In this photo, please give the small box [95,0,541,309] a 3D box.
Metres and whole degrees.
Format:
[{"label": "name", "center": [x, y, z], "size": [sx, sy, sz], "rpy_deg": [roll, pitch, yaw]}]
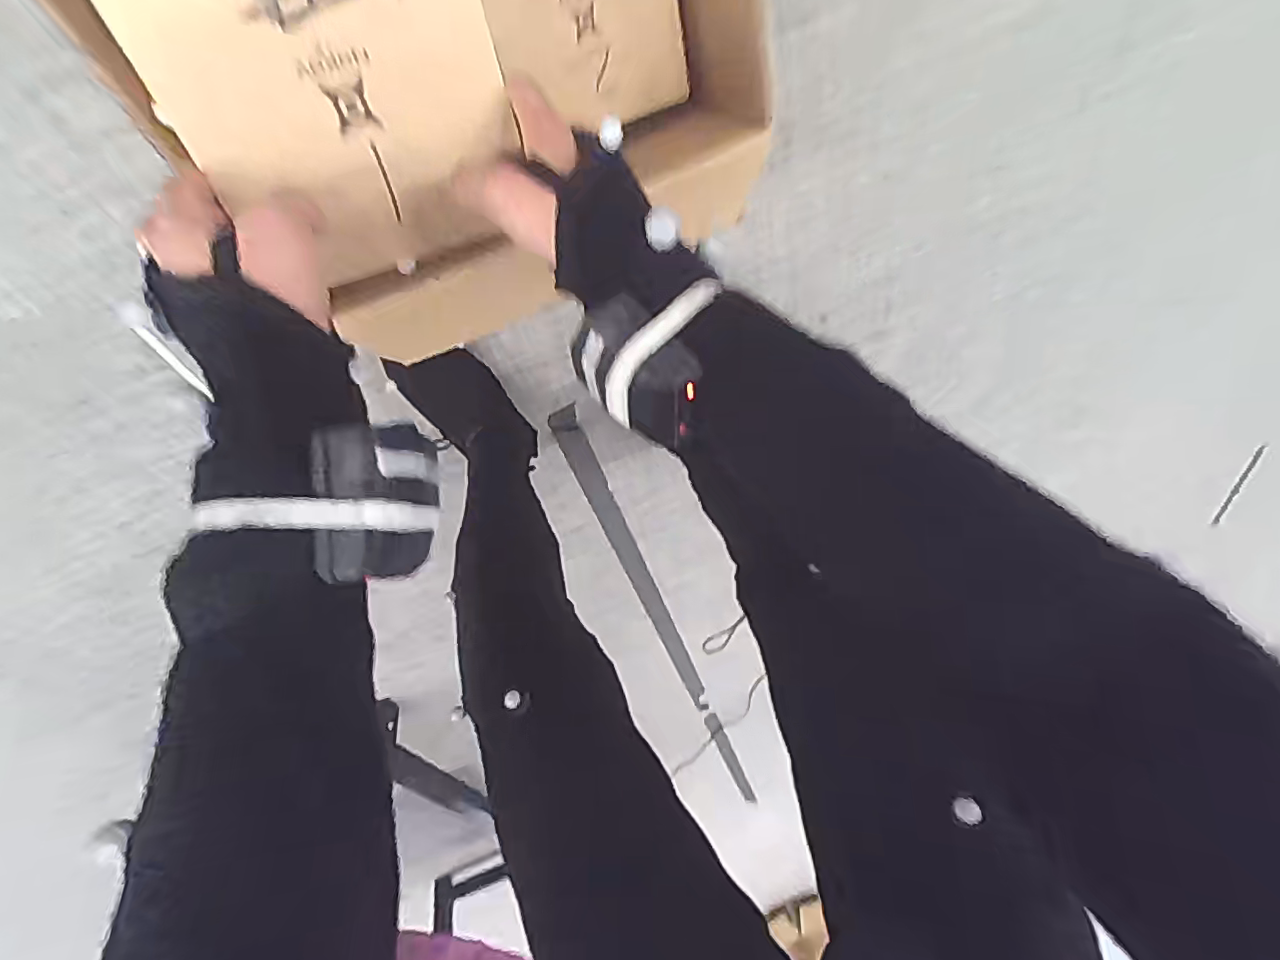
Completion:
[{"label": "small box", "center": [-0.187, -0.229, 0.344], "size": [0.168, 0.176, 0.179], "rpy_deg": [-25, 124, -15]}]
